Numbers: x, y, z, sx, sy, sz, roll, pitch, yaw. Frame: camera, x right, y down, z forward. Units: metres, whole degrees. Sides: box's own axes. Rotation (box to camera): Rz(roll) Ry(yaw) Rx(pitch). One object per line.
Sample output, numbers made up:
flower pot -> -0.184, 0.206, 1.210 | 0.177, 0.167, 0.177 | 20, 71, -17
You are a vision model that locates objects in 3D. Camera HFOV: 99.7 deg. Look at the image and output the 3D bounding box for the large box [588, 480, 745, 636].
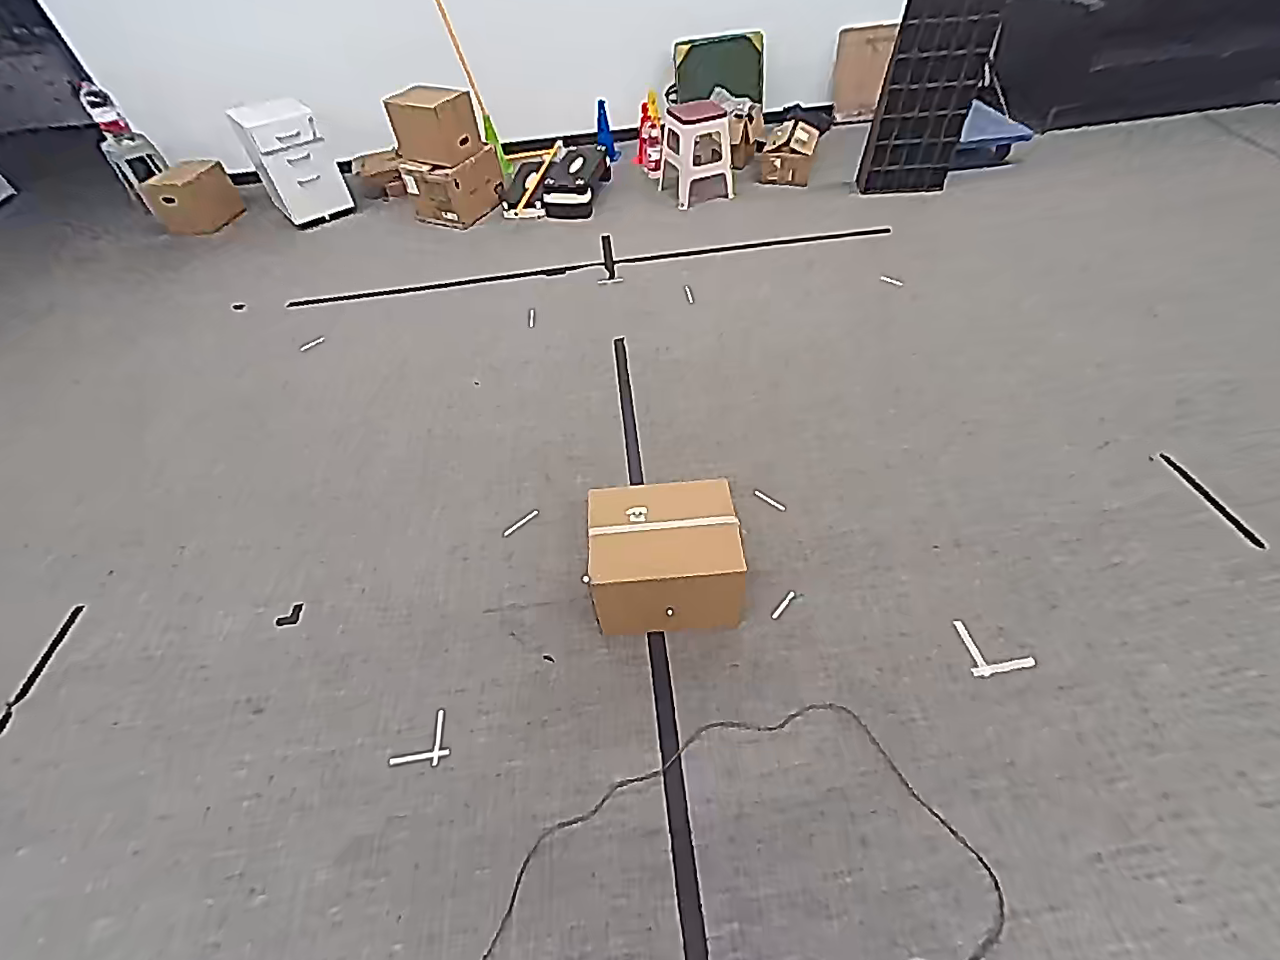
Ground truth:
large box -> 0.072, 0.233, 1.575 | 0.408, 0.320, 0.320 | -6, 49, 1
